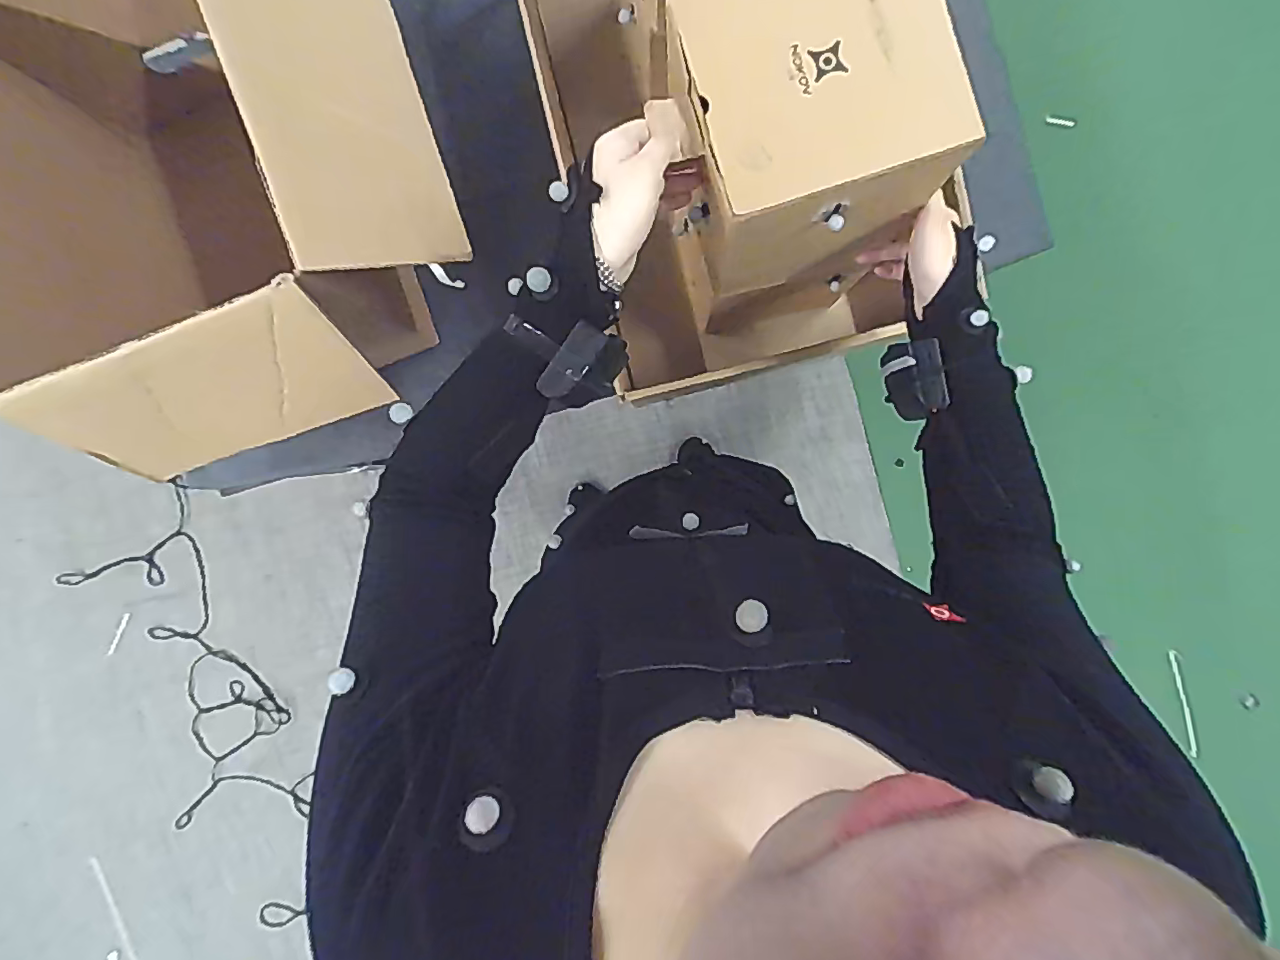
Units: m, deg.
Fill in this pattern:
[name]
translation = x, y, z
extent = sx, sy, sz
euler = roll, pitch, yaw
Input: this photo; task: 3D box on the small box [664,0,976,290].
[small box]
translation = 0.127, -0.280, 0.447
extent = 0.179, 0.176, 0.168
euler = -17, 90, 4
